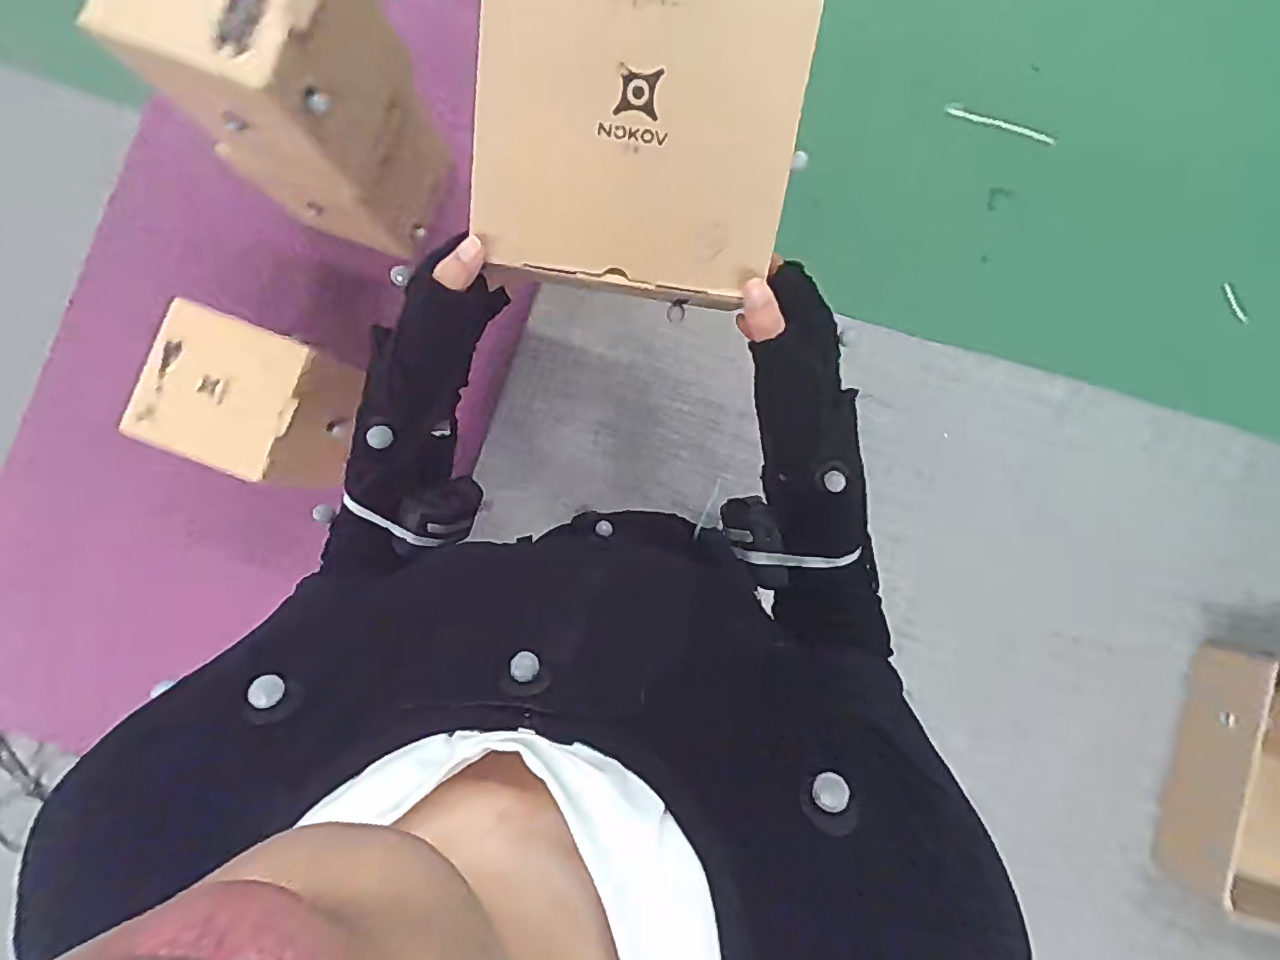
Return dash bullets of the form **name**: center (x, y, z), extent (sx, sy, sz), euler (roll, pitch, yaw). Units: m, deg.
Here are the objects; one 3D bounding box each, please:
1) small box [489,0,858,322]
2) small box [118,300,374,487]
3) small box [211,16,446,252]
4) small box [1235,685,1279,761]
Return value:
- **small box**: center (0.017, -0.207, 0.348), extent (0.168, 0.176, 0.179), euler (11, 107, 0)
- **small box**: center (-0.479, -0.098, 0.689), extent (0.179, 0.176, 0.168), euler (21, 88, 1)
- **small box**: center (-0.380, -0.425, 0.698), extent (0.179, 0.176, 0.168), euler (22, 86, 1)
- **small box**: center (1.652, 0.626, 1.329), extent (0.179, 0.176, 0.168), euler (17, 88, 0)
